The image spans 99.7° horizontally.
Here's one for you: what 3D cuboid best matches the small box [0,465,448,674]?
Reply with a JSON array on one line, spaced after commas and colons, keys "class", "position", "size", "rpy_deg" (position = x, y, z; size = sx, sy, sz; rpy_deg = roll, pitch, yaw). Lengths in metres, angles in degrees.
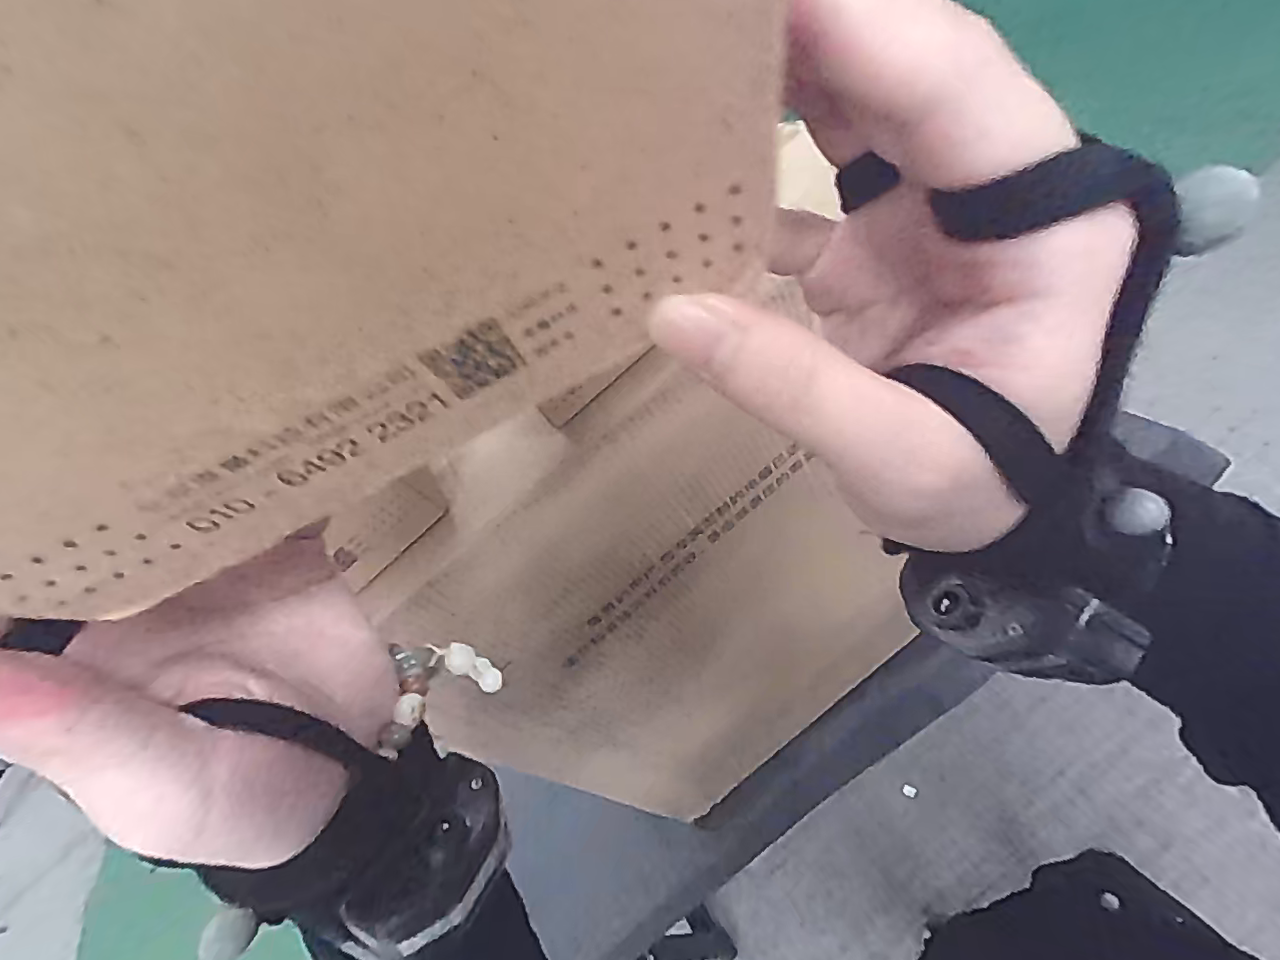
[{"class": "small box", "position": [-0.256, -0.009, 0.343], "size": [0.168, 0.176, 0.179], "rpy_deg": [-45, 45, -2]}]
